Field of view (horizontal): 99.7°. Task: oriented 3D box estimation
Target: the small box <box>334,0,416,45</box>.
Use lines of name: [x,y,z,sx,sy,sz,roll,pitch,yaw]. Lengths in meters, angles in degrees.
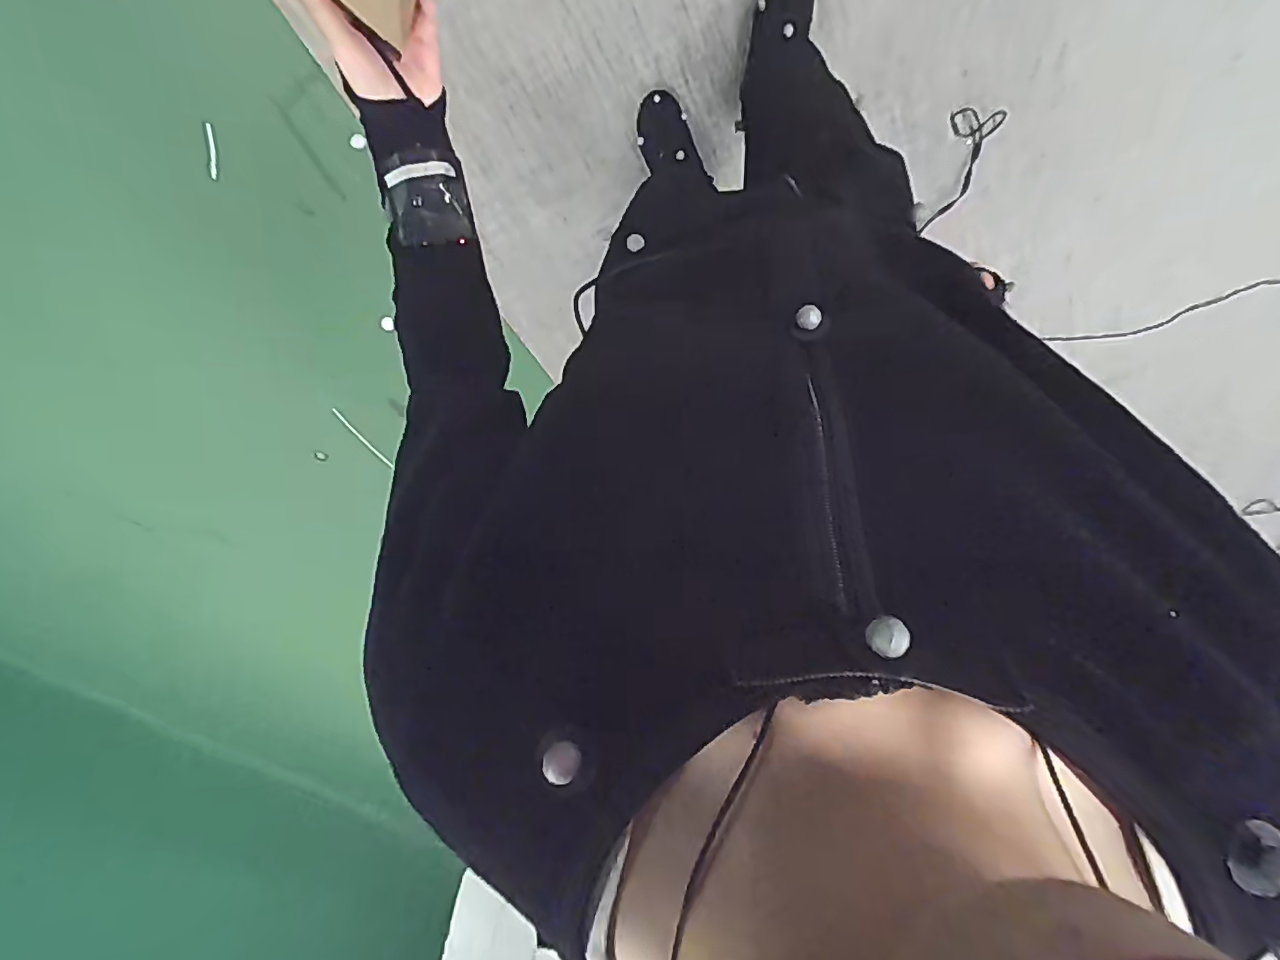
small box: [-0.174,-0.385,0.271,0.168,0.179,0.176,19,102,-28]
